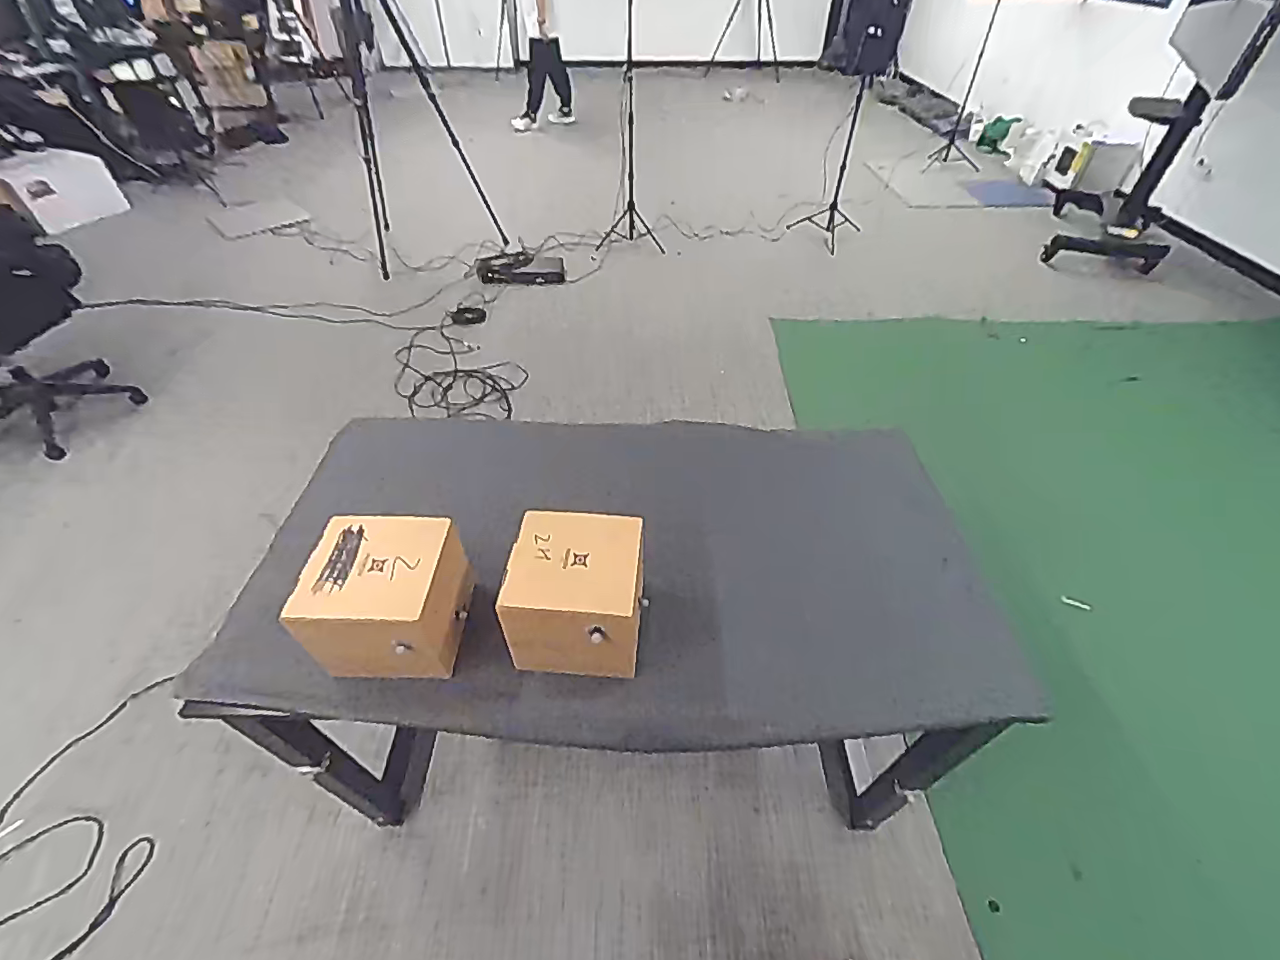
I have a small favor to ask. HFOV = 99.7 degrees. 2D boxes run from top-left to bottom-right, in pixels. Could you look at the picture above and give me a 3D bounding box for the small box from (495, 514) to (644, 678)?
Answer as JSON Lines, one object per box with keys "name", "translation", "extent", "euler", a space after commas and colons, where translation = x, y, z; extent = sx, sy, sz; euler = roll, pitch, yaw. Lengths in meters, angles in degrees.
{"name": "small box", "translation": [-0.088, 0.170, 0.781], "extent": [0.179, 0.176, 0.168], "euler": [3, 44, 4]}
